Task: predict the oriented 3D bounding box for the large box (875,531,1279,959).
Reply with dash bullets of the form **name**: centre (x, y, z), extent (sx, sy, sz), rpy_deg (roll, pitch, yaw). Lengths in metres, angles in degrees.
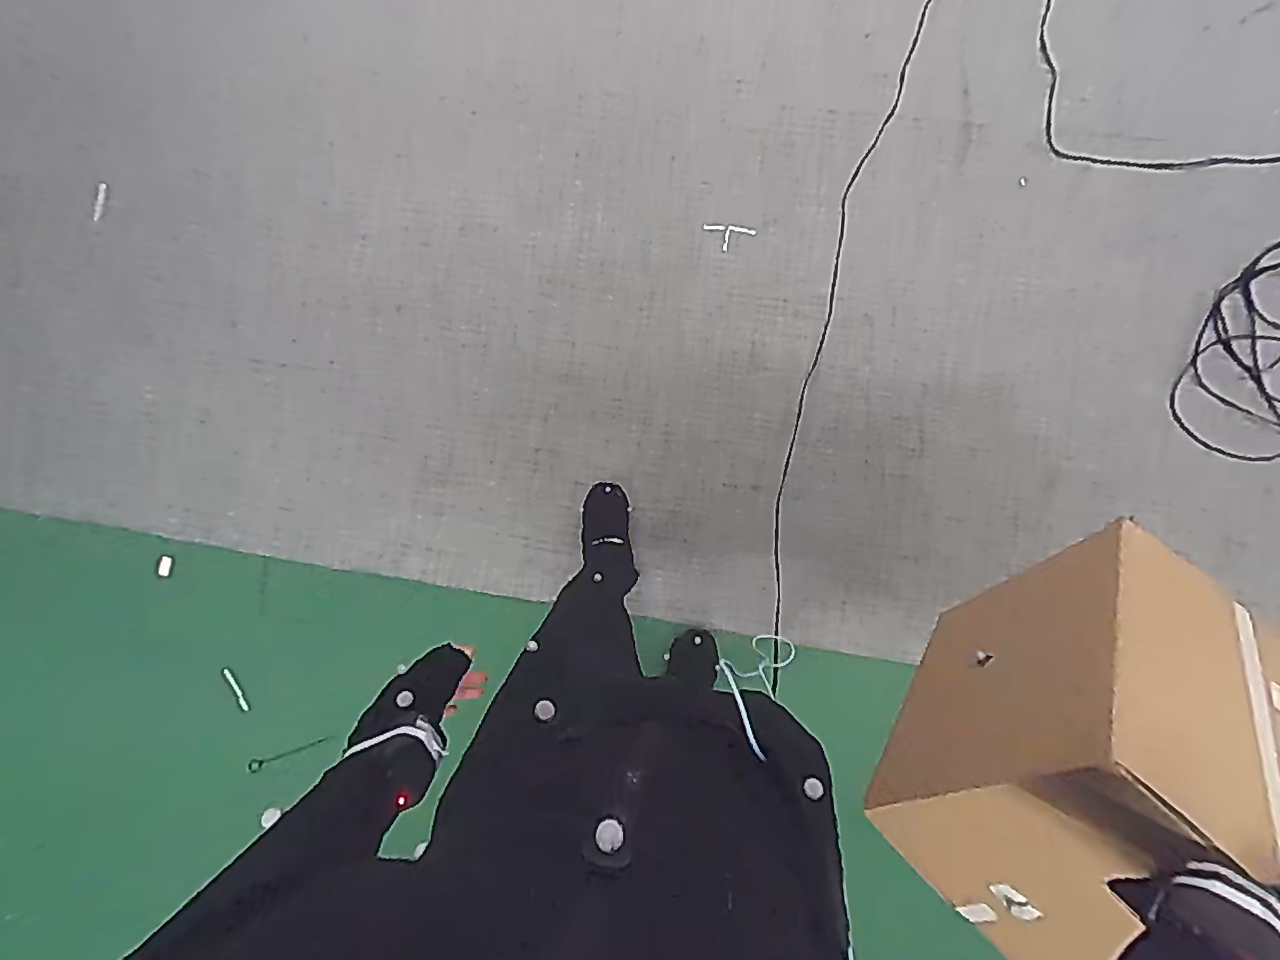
- **large box**: centre (0.556, 0.344, 0.656), extent (0.320, 0.320, 0.408), rpy_deg (44, 47, 11)
